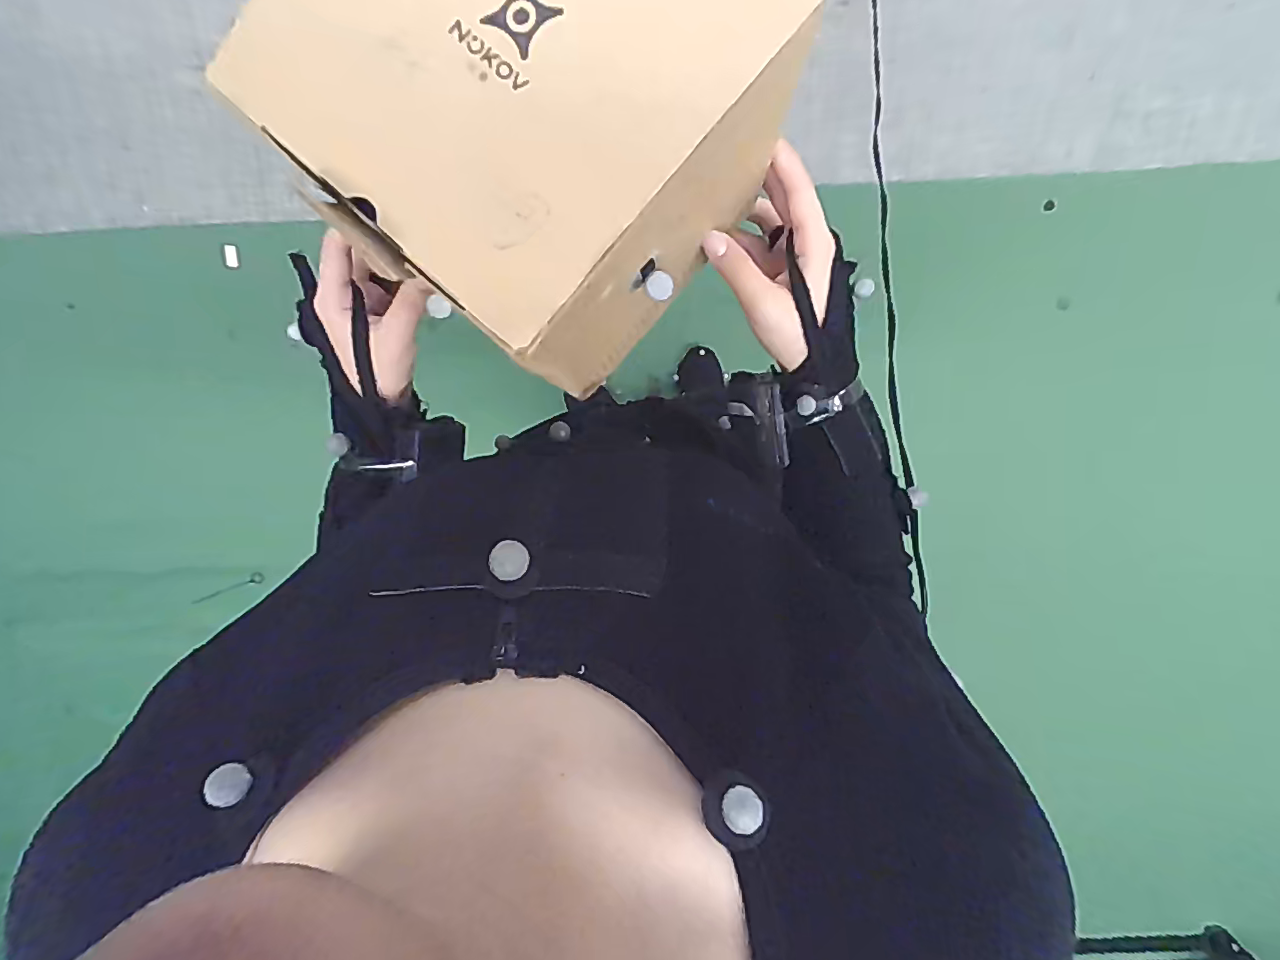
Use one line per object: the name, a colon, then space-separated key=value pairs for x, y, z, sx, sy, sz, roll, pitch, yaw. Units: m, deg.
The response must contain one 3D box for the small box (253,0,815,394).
small box: x=-0.041 y=-0.166 z=0.296 sx=0.168 sy=0.176 sz=0.179 roll=41 pitch=94 yaw=0
